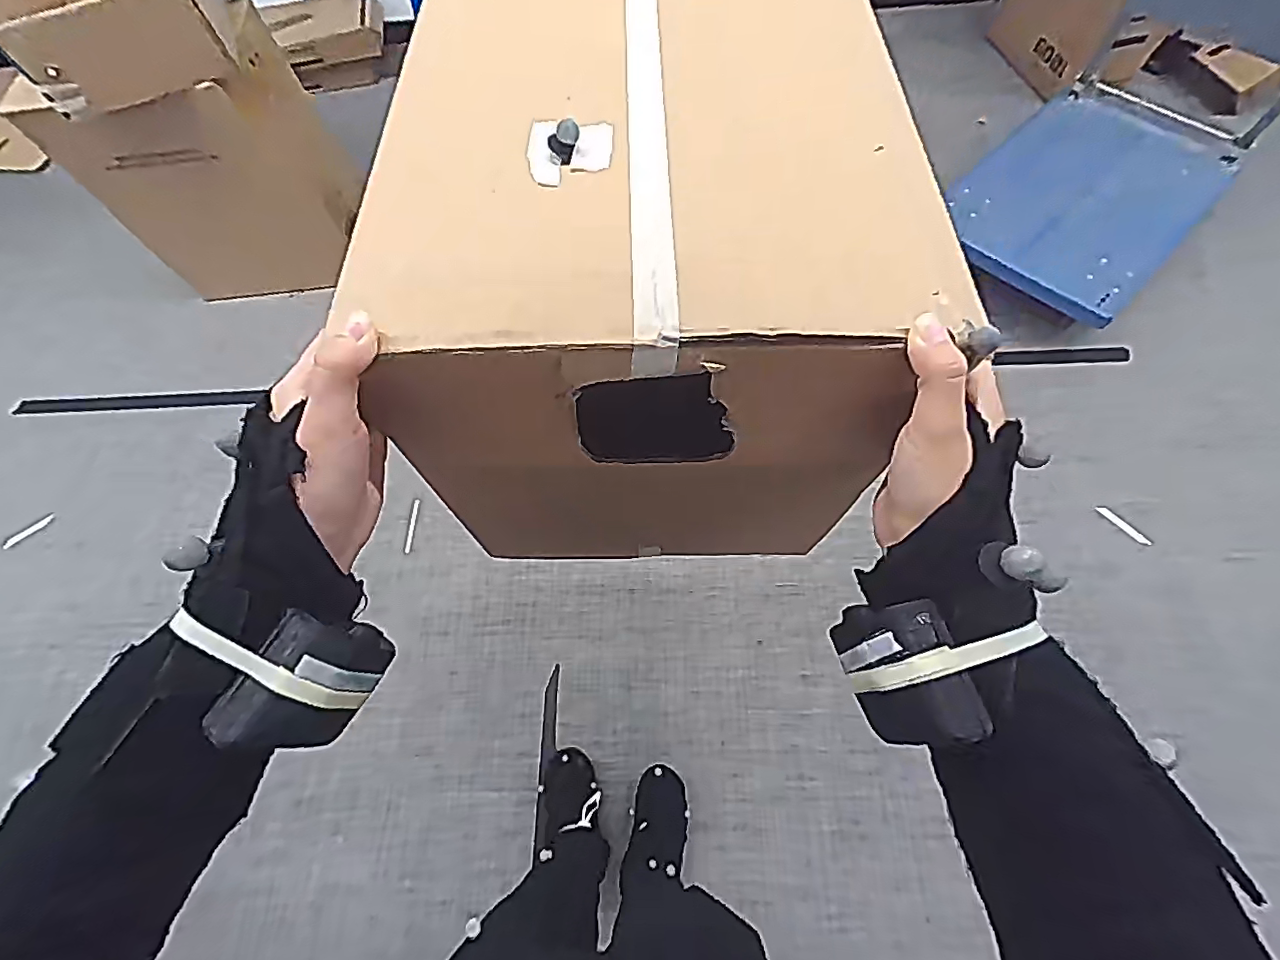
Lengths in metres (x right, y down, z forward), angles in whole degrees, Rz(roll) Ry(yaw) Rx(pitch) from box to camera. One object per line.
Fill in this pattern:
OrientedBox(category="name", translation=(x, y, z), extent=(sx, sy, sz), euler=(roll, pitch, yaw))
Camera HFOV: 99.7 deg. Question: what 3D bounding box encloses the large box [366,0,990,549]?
OrientedBox(category="large box", translation=(0.011, -0.179, 0.478), extent=(0.320, 0.320, 0.408), euler=(-2, 65, 1))
